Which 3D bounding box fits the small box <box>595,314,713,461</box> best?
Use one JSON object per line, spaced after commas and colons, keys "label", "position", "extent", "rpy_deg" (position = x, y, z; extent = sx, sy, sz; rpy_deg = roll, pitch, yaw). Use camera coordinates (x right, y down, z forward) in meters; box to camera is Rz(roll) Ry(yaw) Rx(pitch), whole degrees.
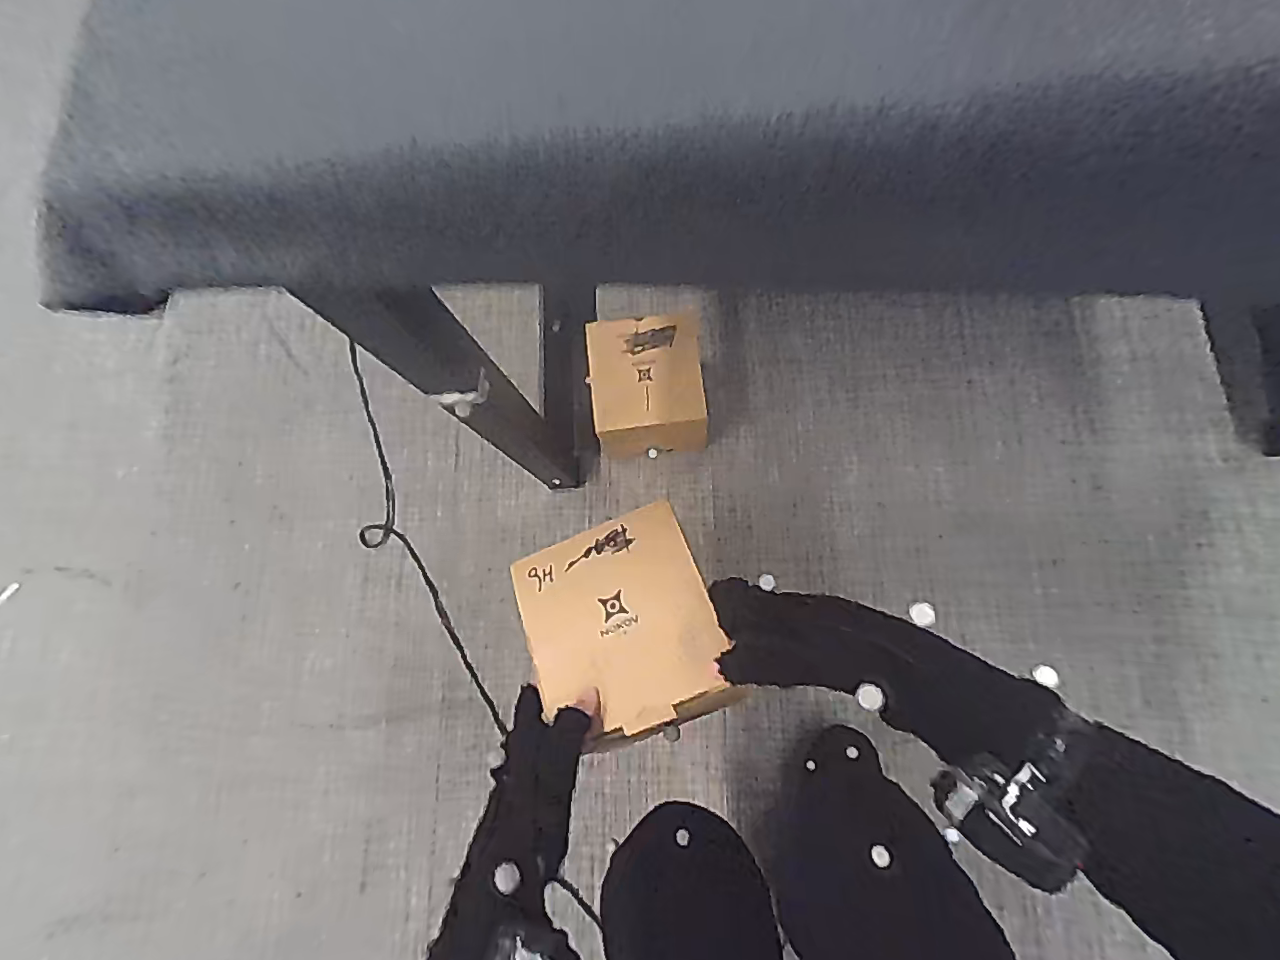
{"label": "small box", "position": [0.025, -0.141, 0.875], "extent": [0.168, 0.176, 0.179], "rpy_deg": [-6, 78, 5]}
